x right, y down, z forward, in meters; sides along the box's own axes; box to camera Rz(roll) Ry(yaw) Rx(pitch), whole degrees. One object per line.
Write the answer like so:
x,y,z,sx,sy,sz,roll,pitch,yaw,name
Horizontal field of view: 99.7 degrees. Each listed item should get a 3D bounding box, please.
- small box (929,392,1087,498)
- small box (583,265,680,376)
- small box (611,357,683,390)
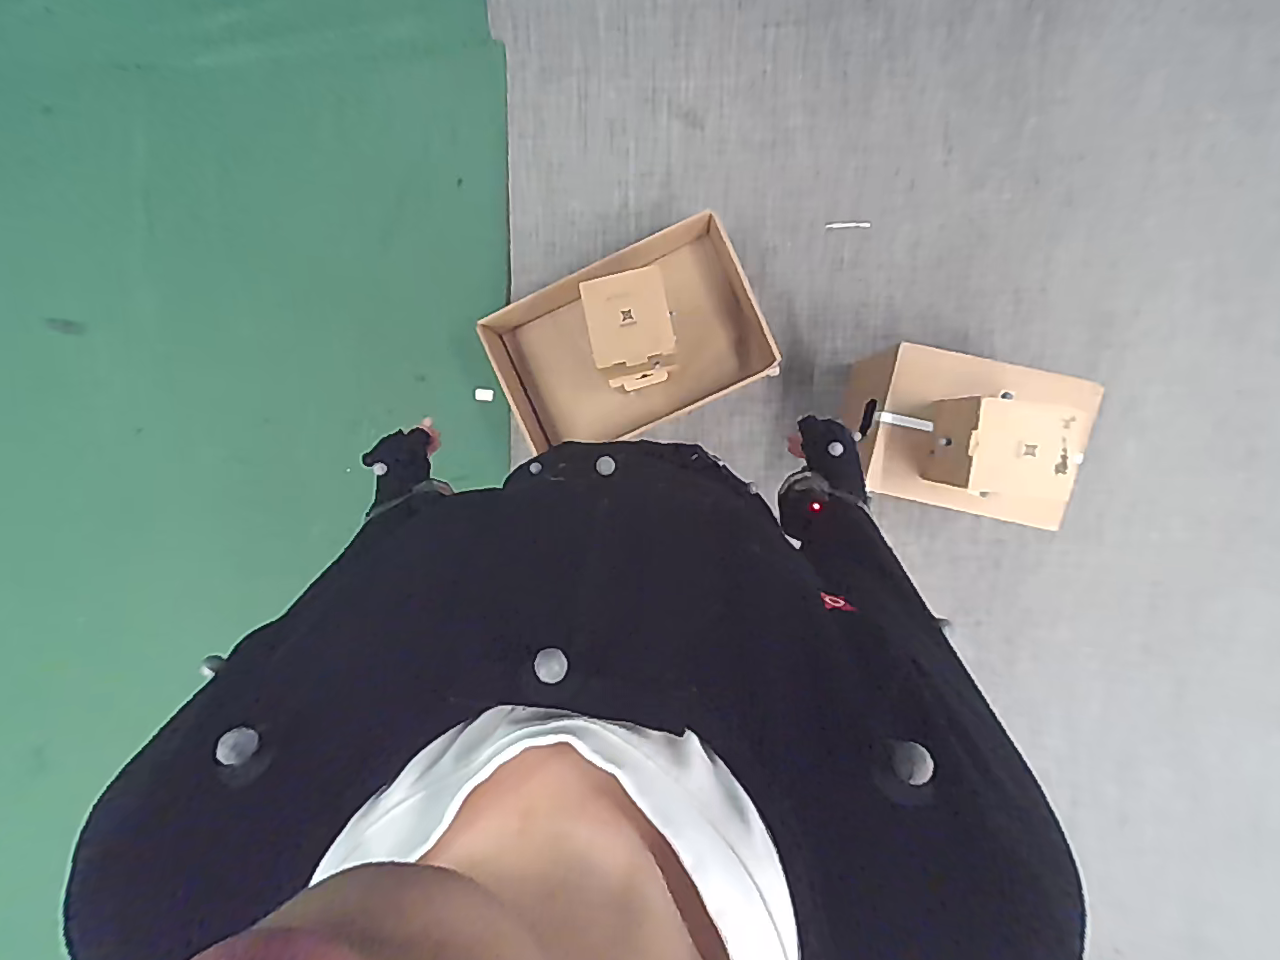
0.672,-0.066,1.011,0.179,0.176,0.168,7,96,4,small box
-0.010,-0.325,1.147,0.168,0.176,0.179,-12,91,6,small box
0.005,-0.322,1.308,0.168,0.176,0.179,-16,91,7,small box
